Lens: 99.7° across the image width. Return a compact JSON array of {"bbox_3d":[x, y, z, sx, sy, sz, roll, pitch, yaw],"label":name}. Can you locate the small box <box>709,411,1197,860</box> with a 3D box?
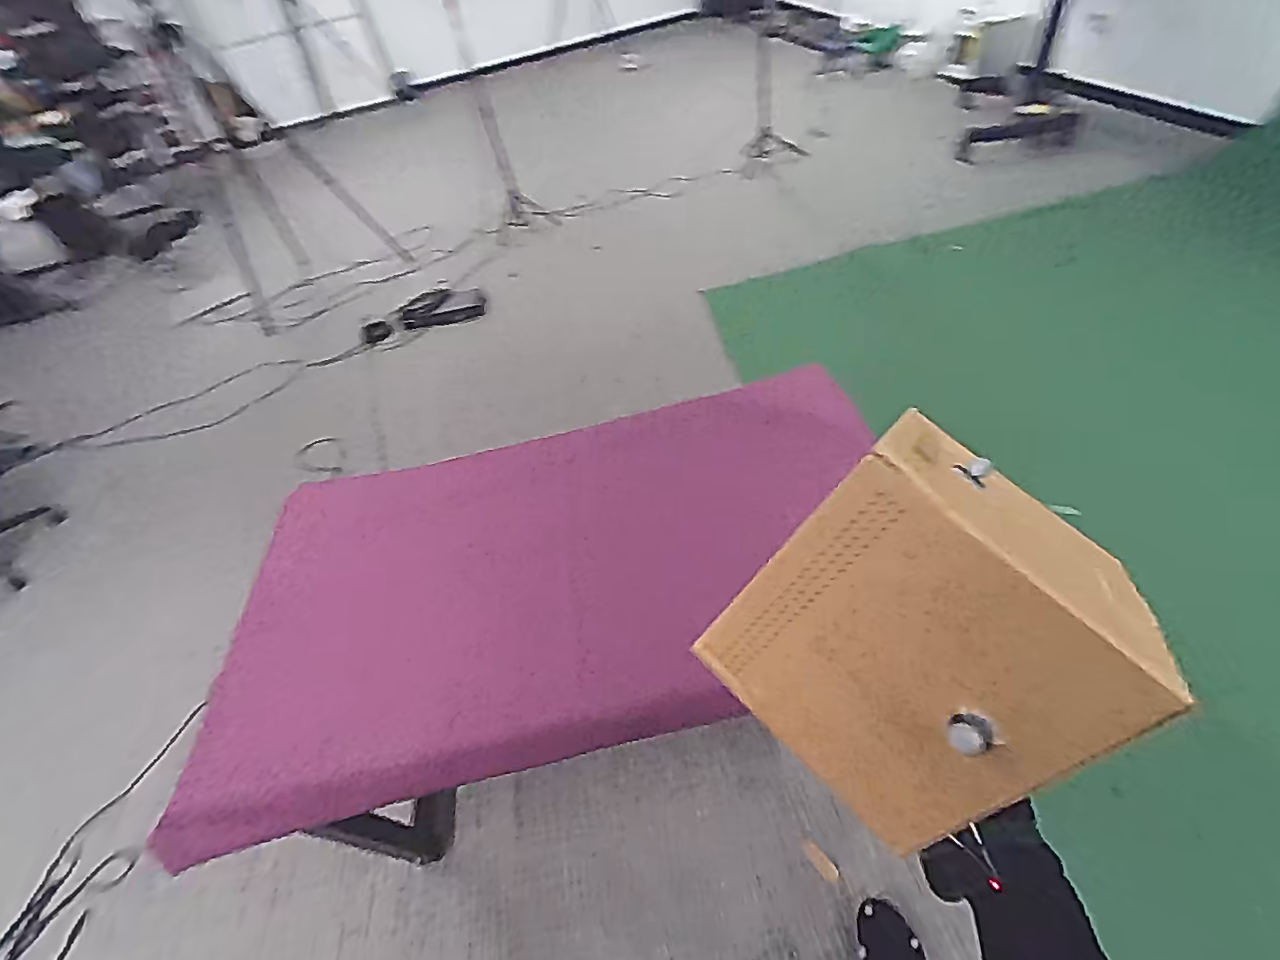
[{"bbox_3d":[0.167,0.081,0.344,0.176,0.179,0.168,43,33,16],"label":"small box"}]
